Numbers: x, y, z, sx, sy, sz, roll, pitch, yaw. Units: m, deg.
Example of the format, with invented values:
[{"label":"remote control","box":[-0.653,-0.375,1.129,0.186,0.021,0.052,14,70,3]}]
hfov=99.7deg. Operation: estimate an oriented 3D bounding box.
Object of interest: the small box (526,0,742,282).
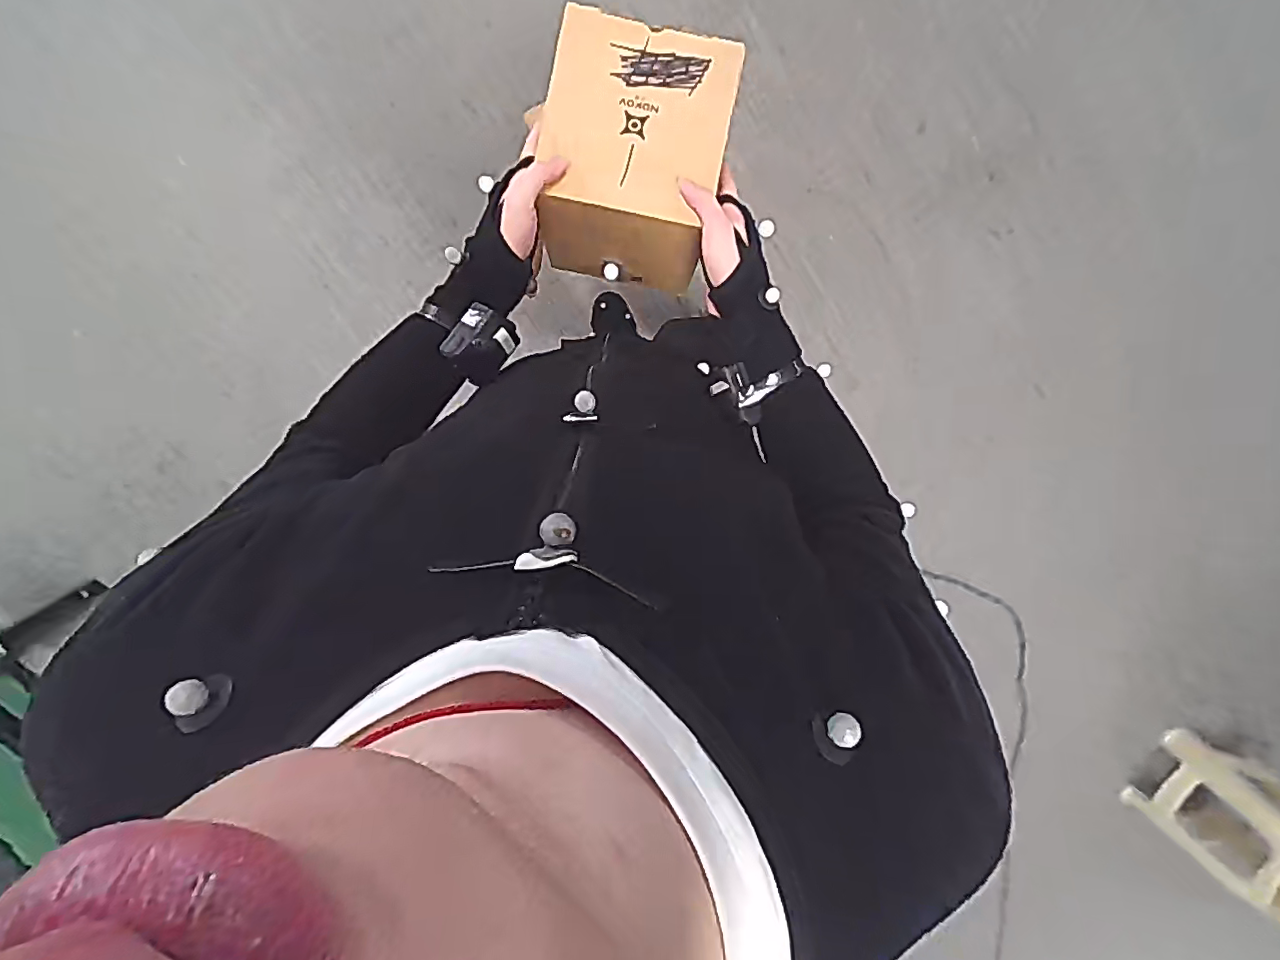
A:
[{"label":"small box","box":[-0.008,-0.332,0.556,0.168,0.176,0.179,11,89,-2]}]
